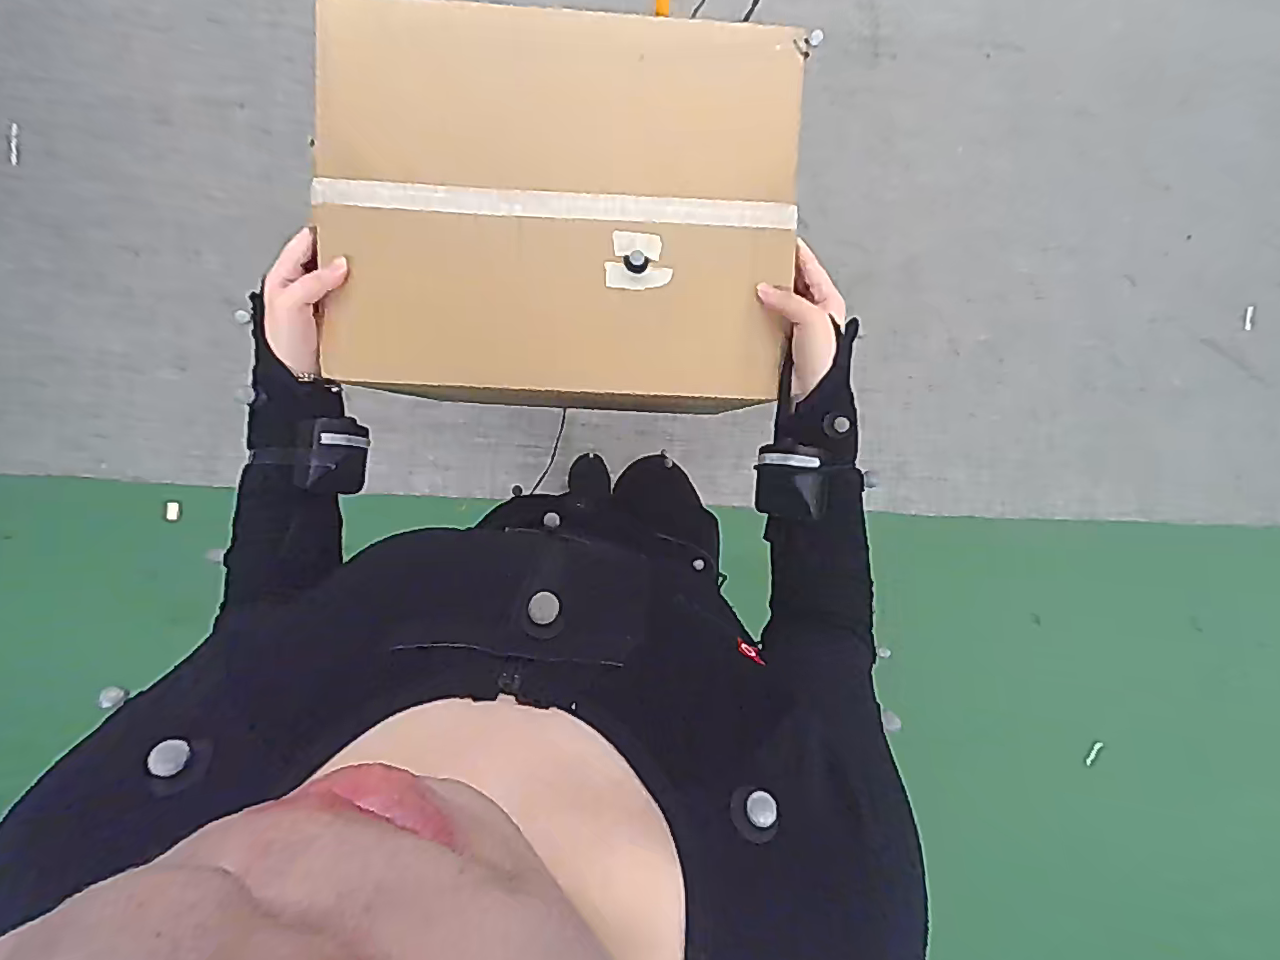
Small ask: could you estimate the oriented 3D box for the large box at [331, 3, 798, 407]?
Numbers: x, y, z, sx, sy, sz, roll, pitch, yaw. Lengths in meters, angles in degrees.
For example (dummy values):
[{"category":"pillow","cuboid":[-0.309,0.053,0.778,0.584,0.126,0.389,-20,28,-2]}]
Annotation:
[{"category":"large box","cuboid":[-0.073,-0.251,0.618,0.408,0.320,0.320,2,95,-4]}]
